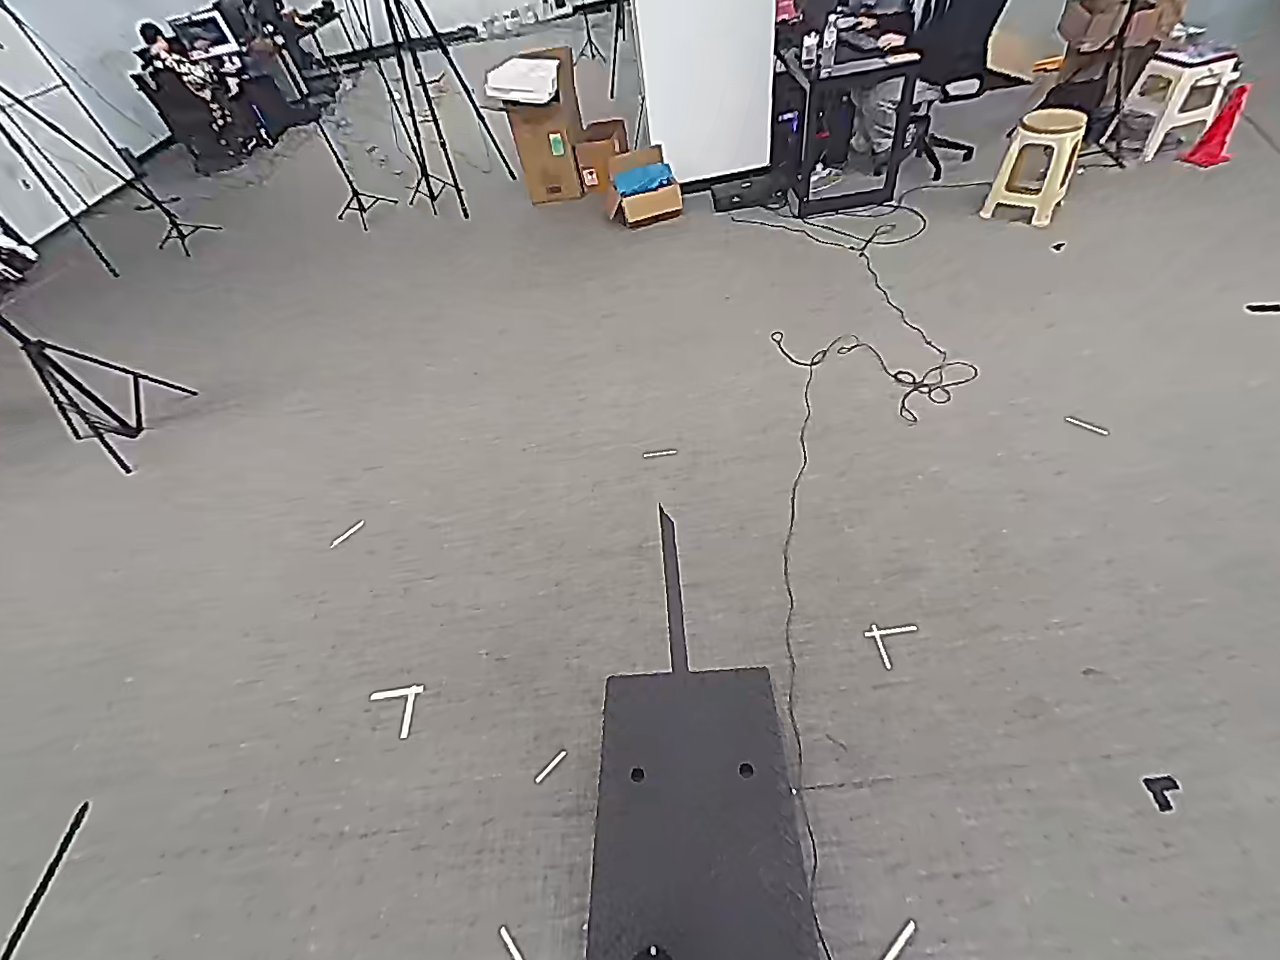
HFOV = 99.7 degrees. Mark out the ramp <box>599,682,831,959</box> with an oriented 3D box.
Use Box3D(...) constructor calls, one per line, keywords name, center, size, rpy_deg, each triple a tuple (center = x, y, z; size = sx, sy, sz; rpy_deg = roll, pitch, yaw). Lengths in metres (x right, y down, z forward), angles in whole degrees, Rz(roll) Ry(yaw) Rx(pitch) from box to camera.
Box3D(name="ramp", center=(0.151, 0.933, 1.233), size=(0.509, 0.206, 0.991), rpy_deg=(-9, 46, 5))
